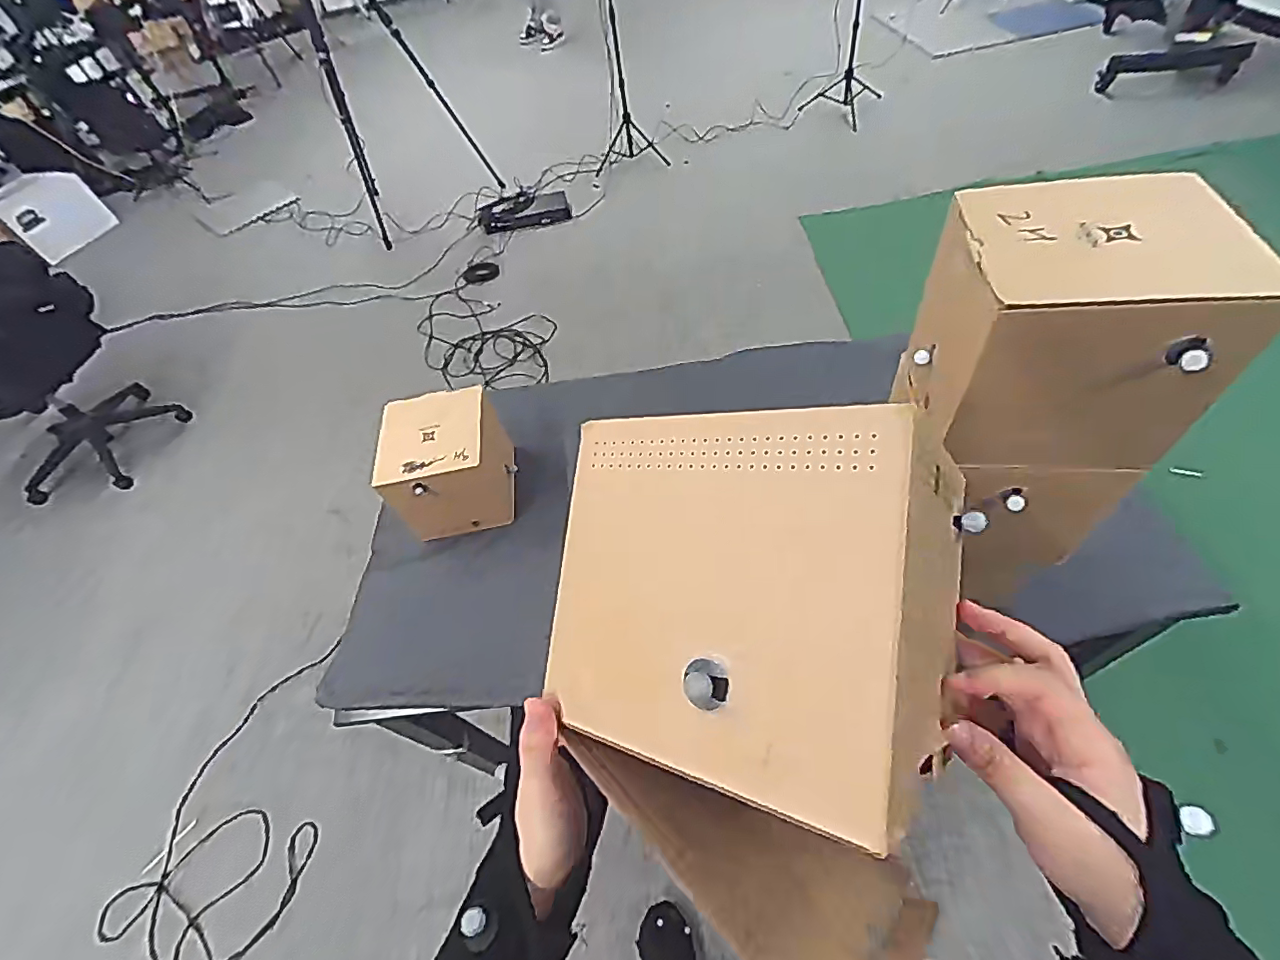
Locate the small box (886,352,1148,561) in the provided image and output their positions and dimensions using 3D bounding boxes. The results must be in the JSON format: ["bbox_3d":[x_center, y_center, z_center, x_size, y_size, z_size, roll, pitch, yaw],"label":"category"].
[{"bbox_3d":[0.368,-0.024,0.581,0.179,0.176,0.168,0,53,12],"label":"small box"}]

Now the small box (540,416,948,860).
[{"bbox_3d":[0.068,0.063,0.311,0.179,0.168,0.176,2,81,38],"label":"small box"}]

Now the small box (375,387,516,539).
[{"bbox_3d":[-0.313,-0.026,0.910,0.168,0.176,0.179,-11,53,1],"label":"small box"}]

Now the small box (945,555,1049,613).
[{"bbox_3d":[0.391,0.062,0.717,0.168,0.176,0.179,-8,52,5],"label":"small box"}]

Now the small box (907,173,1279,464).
[{"bbox_3d":[0.345,-0.126,0.453,0.179,0.176,0.168,2,53,13],"label":"small box"}]
